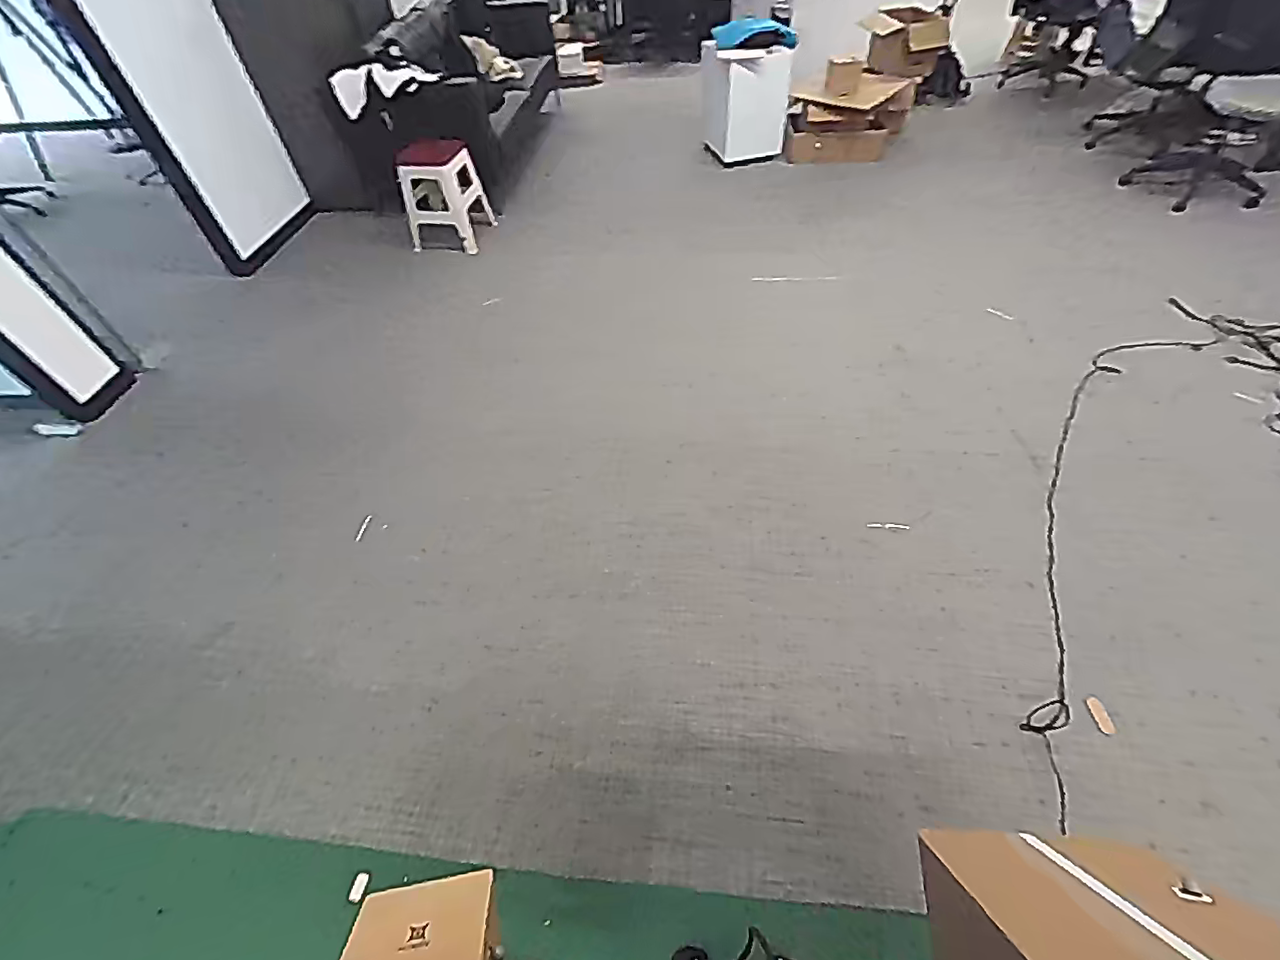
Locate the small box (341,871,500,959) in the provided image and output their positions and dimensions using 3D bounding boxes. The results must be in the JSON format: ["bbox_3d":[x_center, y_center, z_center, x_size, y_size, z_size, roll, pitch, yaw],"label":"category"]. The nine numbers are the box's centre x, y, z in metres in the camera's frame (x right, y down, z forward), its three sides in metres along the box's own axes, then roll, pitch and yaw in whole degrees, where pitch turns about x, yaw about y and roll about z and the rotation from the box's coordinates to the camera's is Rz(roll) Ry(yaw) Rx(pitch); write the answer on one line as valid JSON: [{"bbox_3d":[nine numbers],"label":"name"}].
[{"bbox_3d":[-0.264,0.631,0.656,0.168,0.179,0.176,-5,93,-9],"label":"small box"}]
